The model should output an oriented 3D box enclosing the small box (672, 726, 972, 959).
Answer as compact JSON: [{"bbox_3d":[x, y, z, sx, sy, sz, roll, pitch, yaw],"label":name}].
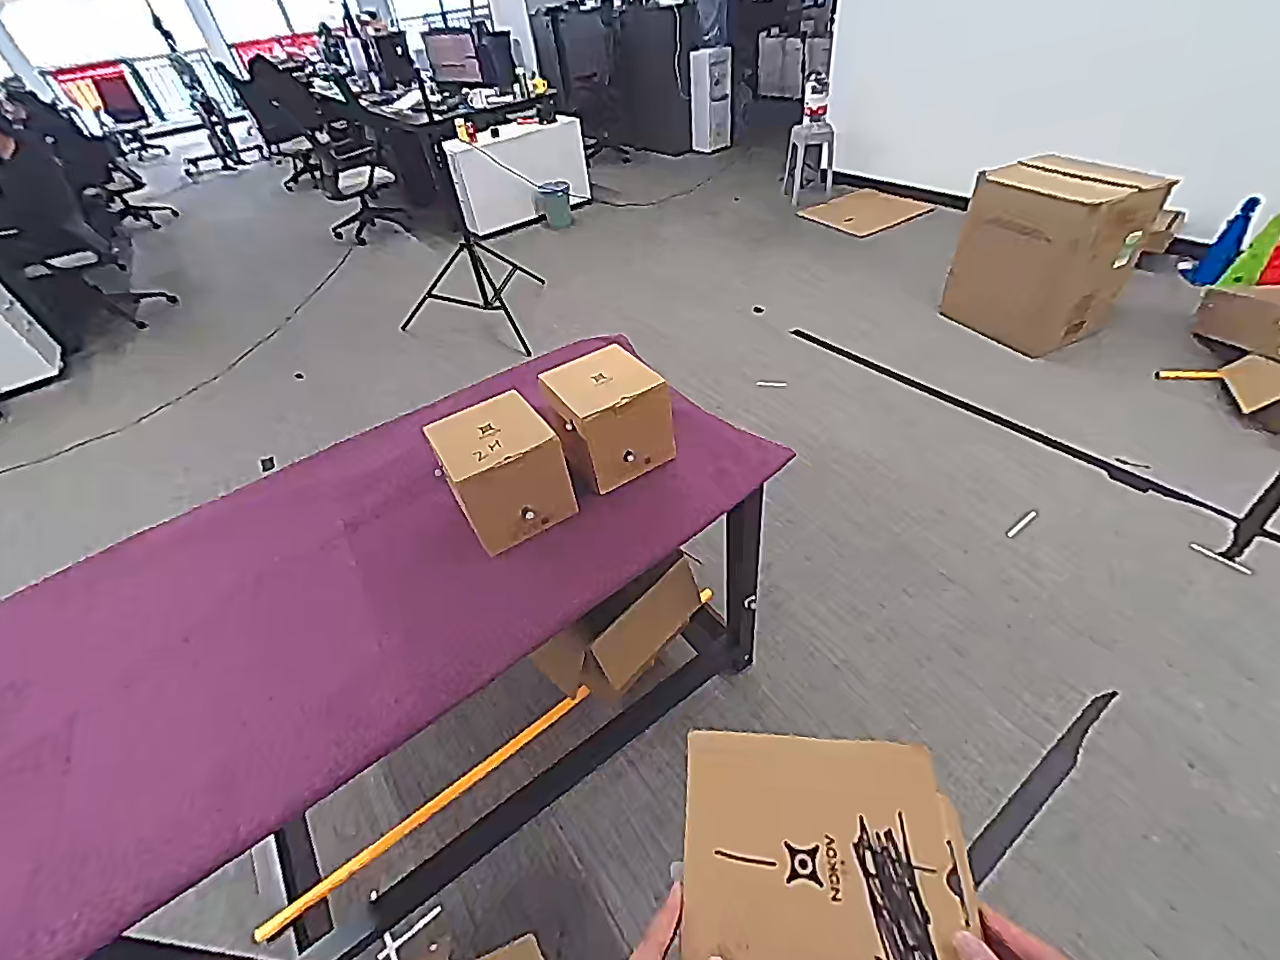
[{"bbox_3d":[0.122,0.306,0.411,0.179,0.176,0.168,-1,46,10],"label":"small box"}]

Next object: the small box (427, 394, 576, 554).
[{"bbox_3d":[-0.226,-0.011,0.901,0.168,0.176,0.179,-28,46,-19],"label":"small box"}]

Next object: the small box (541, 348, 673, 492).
[{"bbox_3d":[-0.056,-0.109,0.978,0.168,0.176,0.179,-28,45,-19],"label":"small box"}]
